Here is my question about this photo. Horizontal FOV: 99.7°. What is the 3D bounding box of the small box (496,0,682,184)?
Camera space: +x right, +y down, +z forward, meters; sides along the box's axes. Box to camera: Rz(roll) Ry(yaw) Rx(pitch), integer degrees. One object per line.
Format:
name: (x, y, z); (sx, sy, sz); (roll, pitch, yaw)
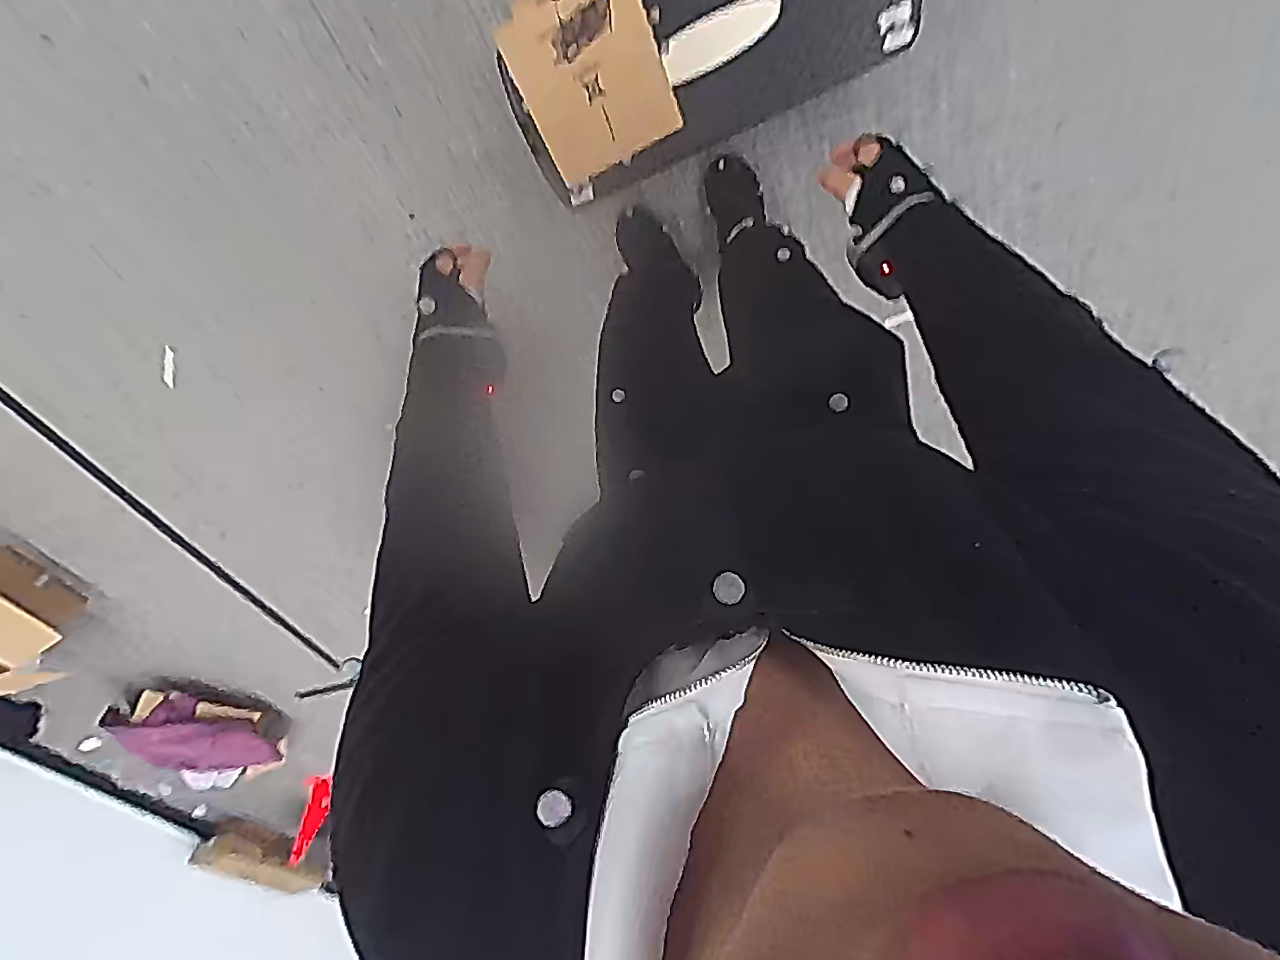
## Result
small box: (-0.056, -0.516, 0.696); (0.168, 0.176, 0.179); (-20, 125, 15)
